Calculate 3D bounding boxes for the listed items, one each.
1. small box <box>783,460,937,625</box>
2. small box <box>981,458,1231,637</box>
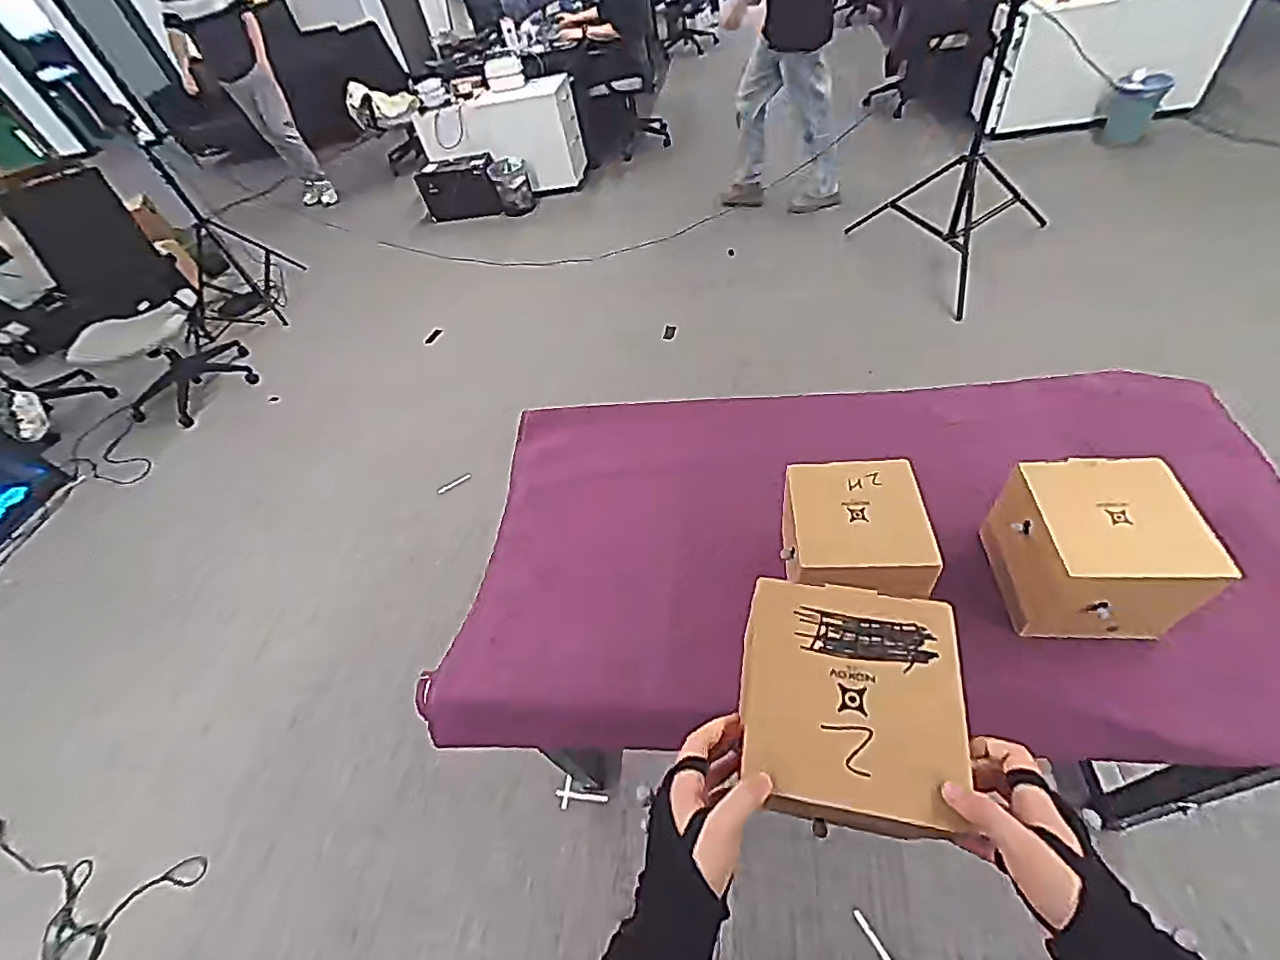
[{"bbox_3d":[0.297,0.093,0.770,0.168,0.176,0.179,-2,48,9],"label":"small box"},{"bbox_3d":[0.582,0.093,0.710,0.168,0.176,0.179,-2,50,11],"label":"small box"}]
